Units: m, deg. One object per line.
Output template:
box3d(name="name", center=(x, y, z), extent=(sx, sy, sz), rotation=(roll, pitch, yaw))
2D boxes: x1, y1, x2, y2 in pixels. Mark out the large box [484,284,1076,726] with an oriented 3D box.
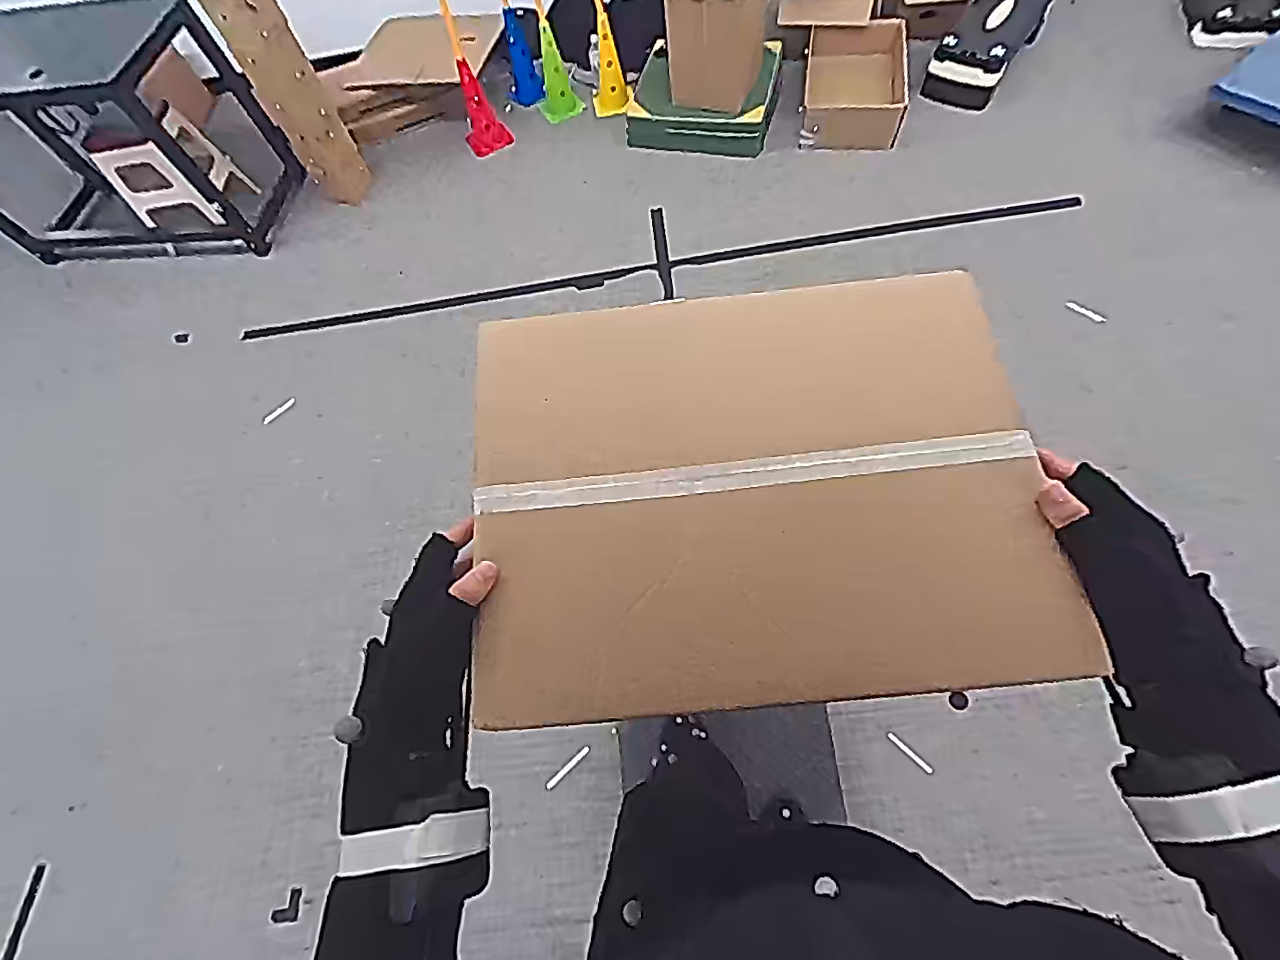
box3d(name="large box", center=(0.088, 0.047, 0.546), extent=(0.408, 0.320, 0.320), rotation=(-5, 70, 1))
